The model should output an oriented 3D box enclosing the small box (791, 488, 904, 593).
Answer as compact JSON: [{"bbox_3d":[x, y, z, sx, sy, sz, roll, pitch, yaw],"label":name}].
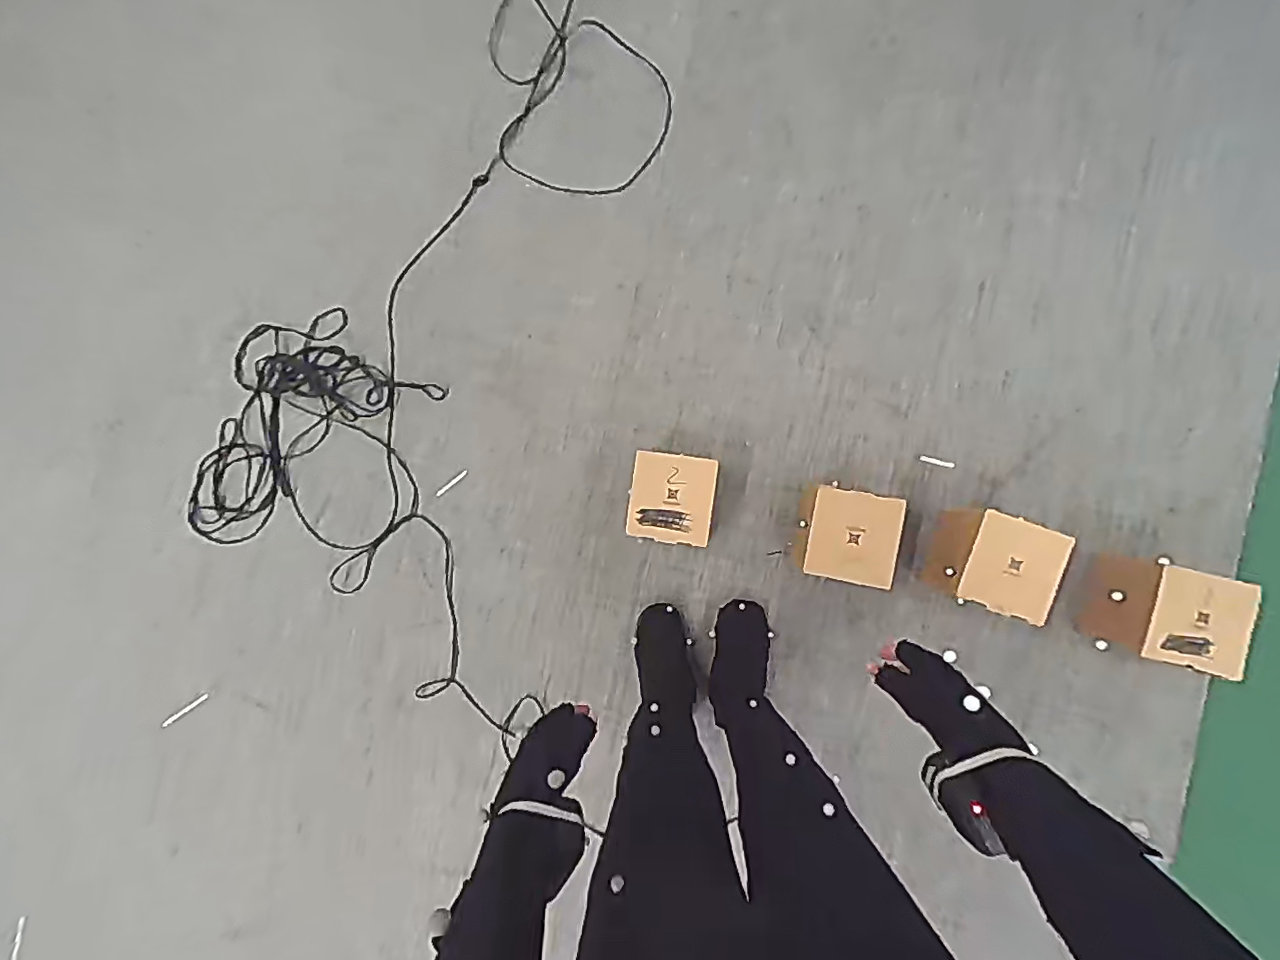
[{"bbox_3d":[0.414,0.116,1.106,0.168,0.176,0.179,10,91,8],"label":"small box"}]

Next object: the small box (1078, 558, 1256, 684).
[{"bbox_3d":[0.997,0.261,1.042,0.168,0.176,0.179,15,89,6],"label":"small box"}]

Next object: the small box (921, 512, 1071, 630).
[{"bbox_3d":[0.693,0.169,1.076,0.168,0.176,0.179,19,91,6],"label":"small box"}]
